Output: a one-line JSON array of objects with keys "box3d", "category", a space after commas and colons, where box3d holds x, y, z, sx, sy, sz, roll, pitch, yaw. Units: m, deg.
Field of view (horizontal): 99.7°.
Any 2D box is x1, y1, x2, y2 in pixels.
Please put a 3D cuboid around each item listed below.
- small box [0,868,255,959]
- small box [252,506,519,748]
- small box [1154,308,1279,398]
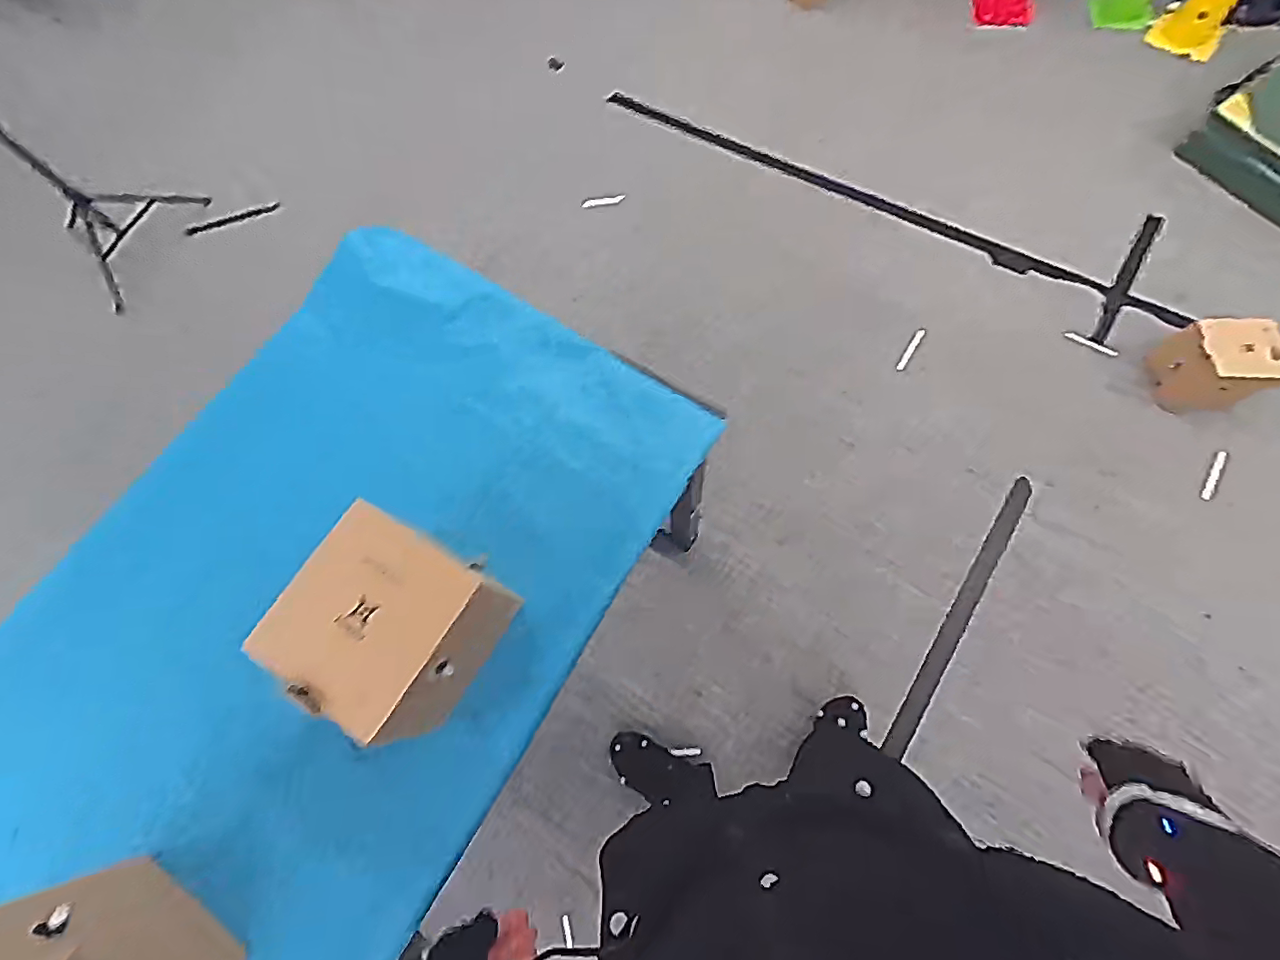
[{"box3d": [-0.526, 0.510, 0.505, 0.179, 0.176, 0.168, 32, 78, 12], "category": "small box"}, {"box3d": [-0.259, 0.160, 0.600, 0.168, 0.176, 0.179, 29, 76, 13], "category": "small box"}, {"box3d": [1.478, -0.319, 1.382, 0.179, 0.176, 0.168, -1, 72, 3], "category": "small box"}]
